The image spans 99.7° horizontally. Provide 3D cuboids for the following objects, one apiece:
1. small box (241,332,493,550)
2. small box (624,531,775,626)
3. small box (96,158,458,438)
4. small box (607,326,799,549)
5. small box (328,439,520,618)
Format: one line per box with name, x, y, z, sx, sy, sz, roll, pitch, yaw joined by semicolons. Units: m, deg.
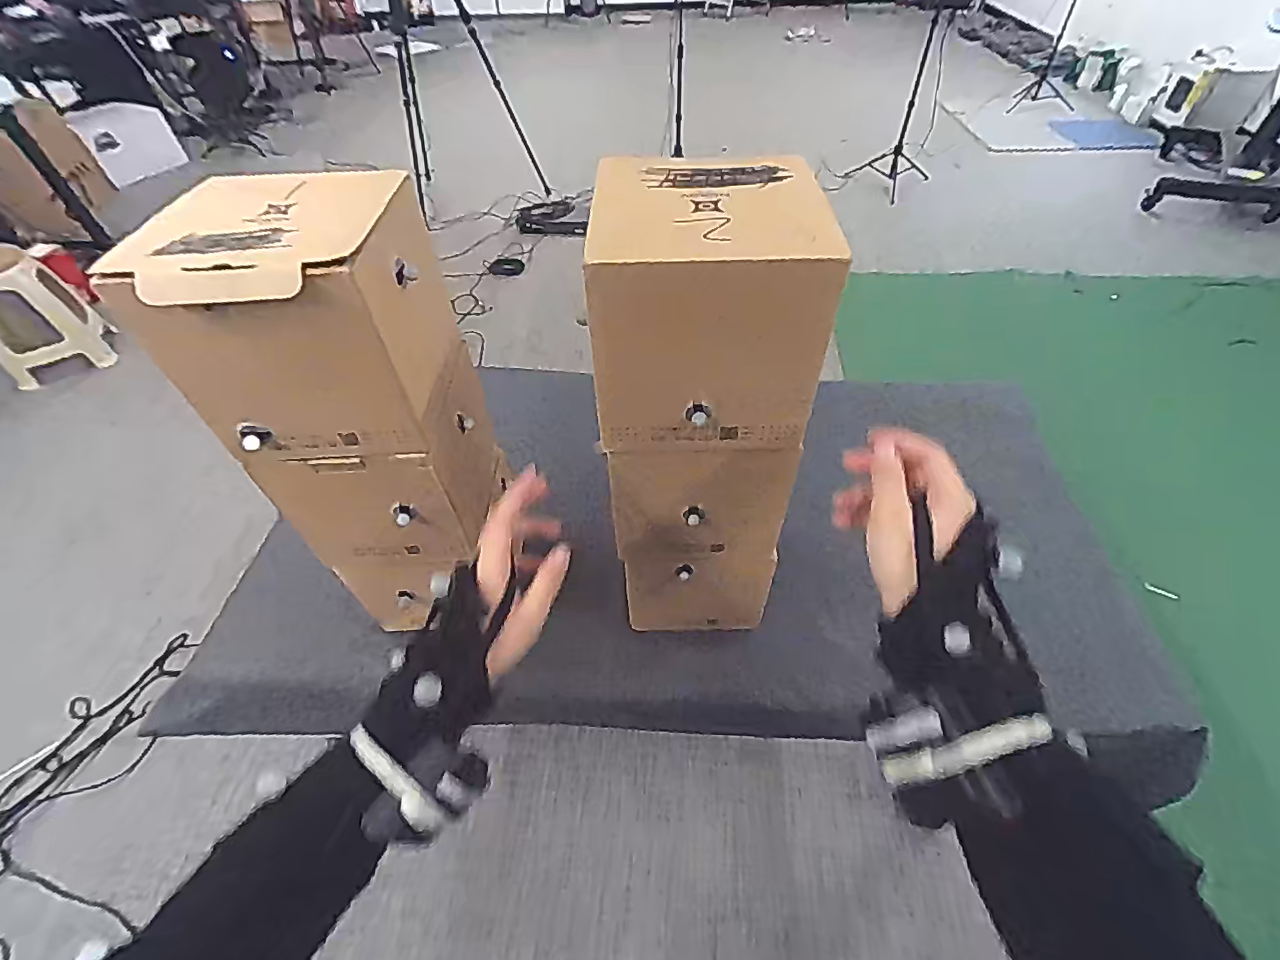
small box;-0.262;-0.037;0.577;0.168;0.176;0.179;-1;48;-1
small box;0.066;0.068;0.694;0.168;0.176;0.179;-1;48;1
small box;-0.264;-0.147;0.454;0.168;0.176;0.179;-2;48;-3
small box;0.056;-0.040;0.568;0.168;0.176;0.179;0;49;1
small box;-0.258;0.068;0.701;0.168;0.176;0.179;-2;49;0
